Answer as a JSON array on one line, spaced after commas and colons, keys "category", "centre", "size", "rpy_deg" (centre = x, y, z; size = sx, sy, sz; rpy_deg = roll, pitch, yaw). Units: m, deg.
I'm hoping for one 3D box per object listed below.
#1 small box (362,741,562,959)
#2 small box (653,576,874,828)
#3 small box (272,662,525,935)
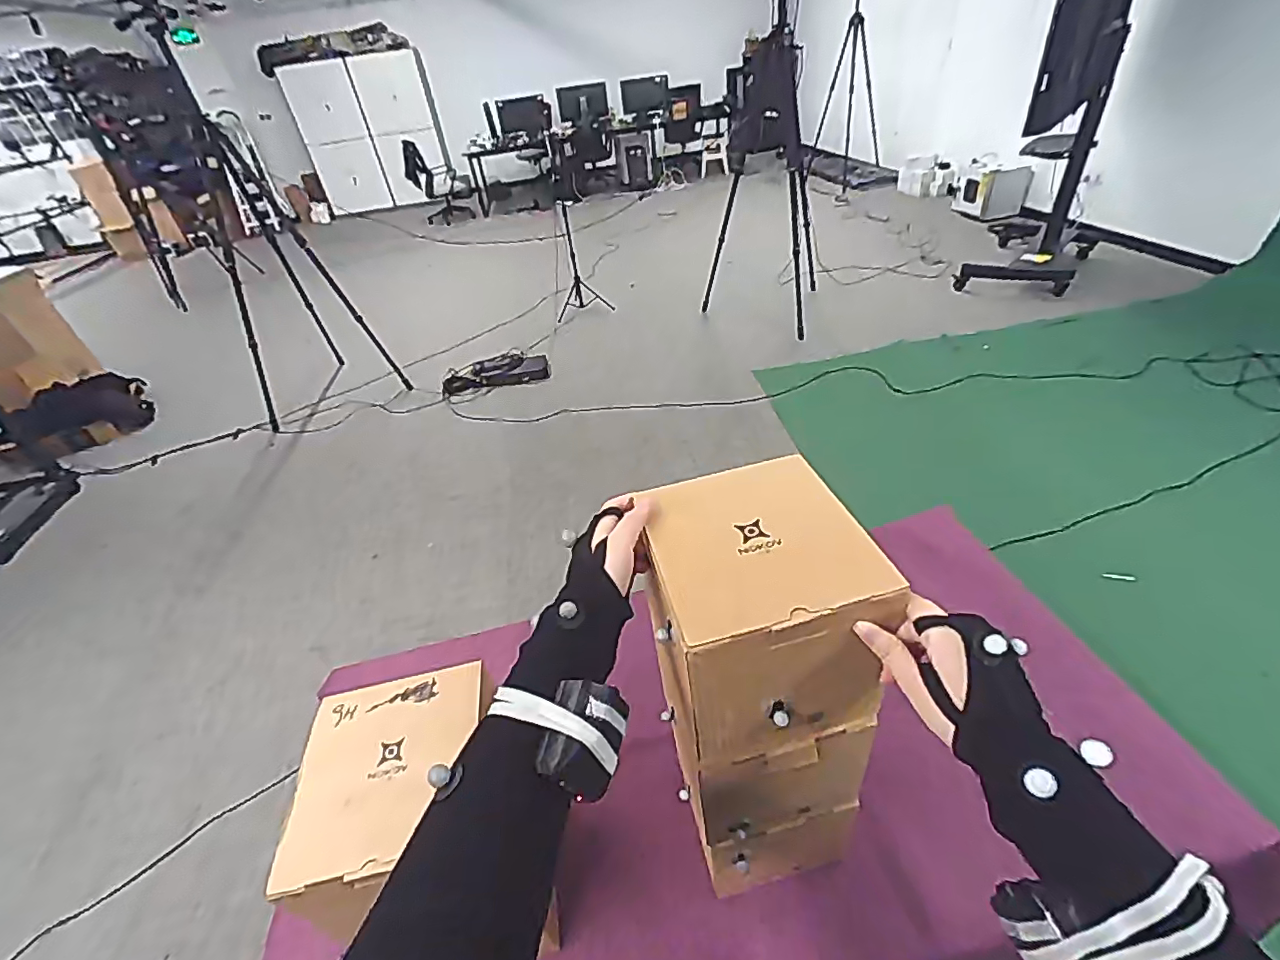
[{"category": "small box", "centre": [-0.194, 0.449, 0.639], "size": [0.168, 0.176, 0.179], "rpy_deg": [-13, 38, -4]}, {"category": "small box", "centre": [0.121, 0.238, 0.576], "size": [0.168, 0.176, 0.179], "rpy_deg": [-14, 37, -6]}, {"category": "small box", "centre": [-0.215, 0.319, 0.540], "size": [0.168, 0.176, 0.179], "rpy_deg": [-12, 38, -5]}]
